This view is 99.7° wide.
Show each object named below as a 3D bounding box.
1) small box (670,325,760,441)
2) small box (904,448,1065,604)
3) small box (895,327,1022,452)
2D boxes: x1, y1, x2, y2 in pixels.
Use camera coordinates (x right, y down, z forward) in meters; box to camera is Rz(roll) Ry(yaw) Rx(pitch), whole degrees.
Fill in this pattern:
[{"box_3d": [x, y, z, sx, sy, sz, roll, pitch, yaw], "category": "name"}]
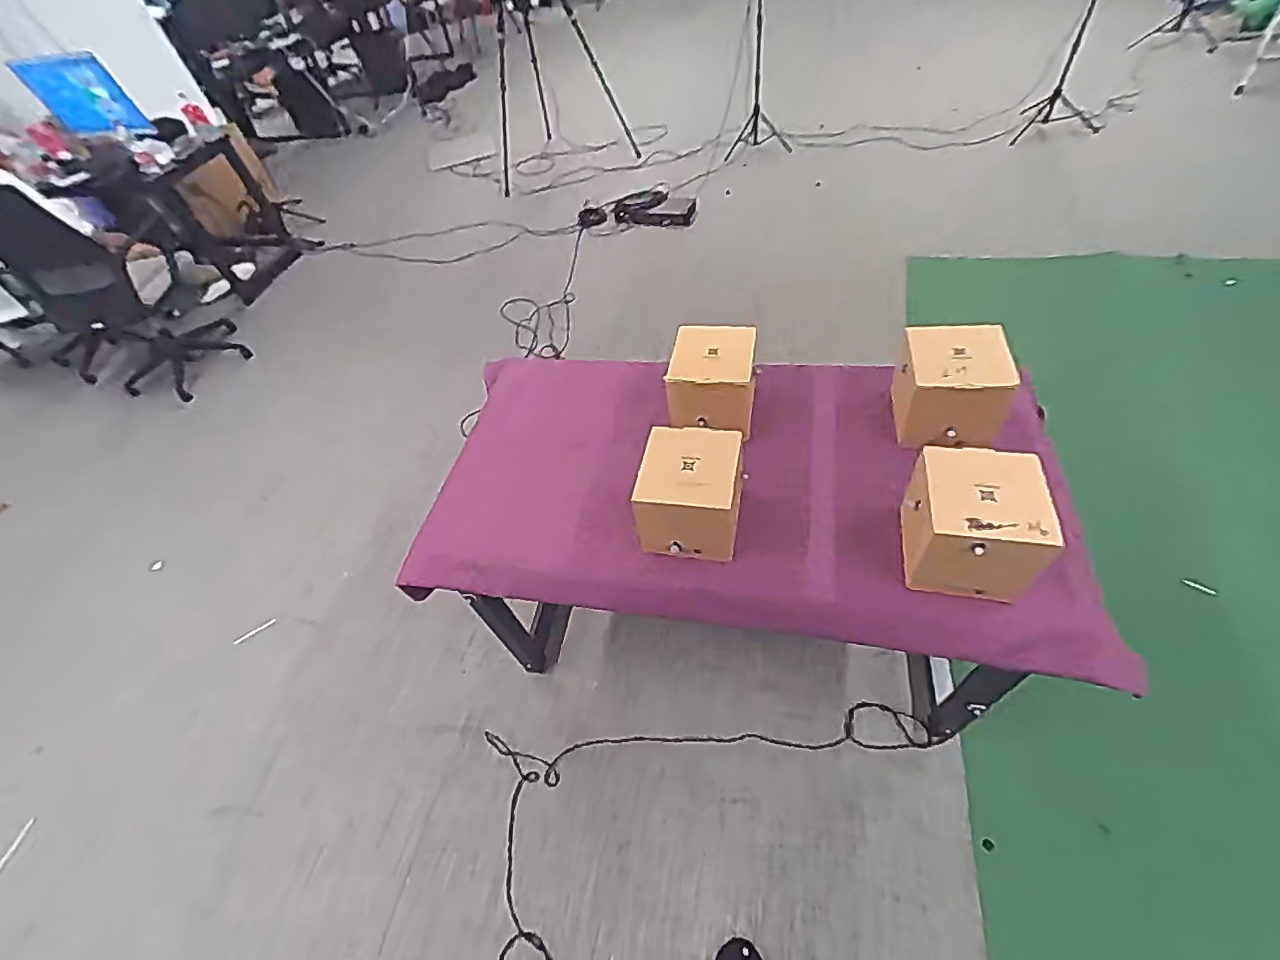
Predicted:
[{"box_3d": [0.162, -0.207, 1.157, 0.168, 0.176, 0.179, 5, 54, 13], "category": "small box"}, {"box_3d": [0.533, 0.073, 0.868, 0.168, 0.176, 0.179, 6, 50, 15], "category": "small box"}, {"box_3d": [0.605, -0.176, 1.054, 0.168, 0.176, 0.179, 2, 52, 15], "category": "small box"}]
